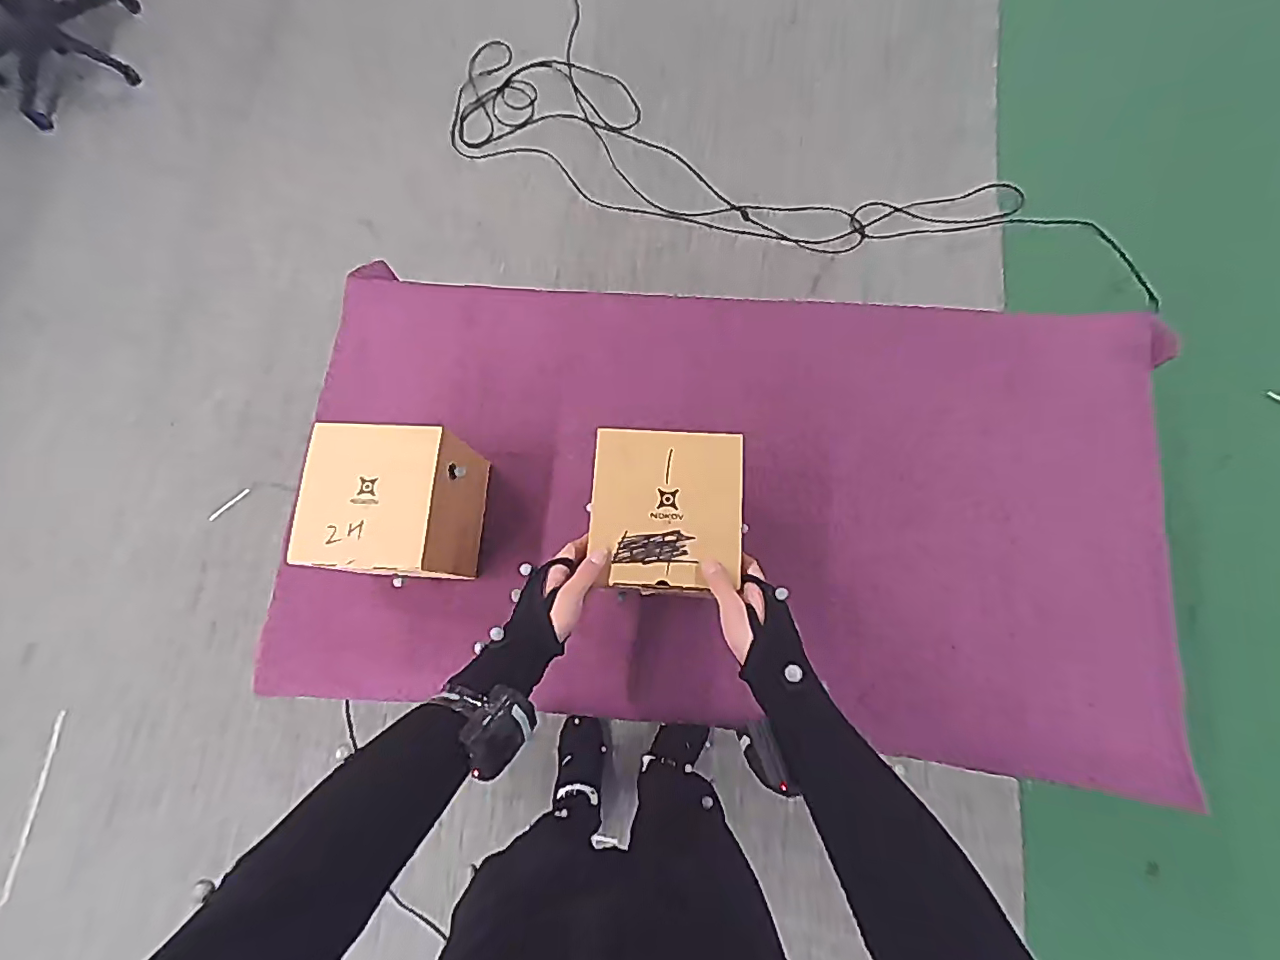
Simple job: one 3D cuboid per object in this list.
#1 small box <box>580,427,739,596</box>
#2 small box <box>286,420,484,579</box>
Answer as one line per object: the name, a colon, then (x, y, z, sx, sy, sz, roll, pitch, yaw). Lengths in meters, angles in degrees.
small box: (0.027, 0.047, 0.665, 0.168, 0.176, 0.179, 3, 75, 3)
small box: (-0.319, 0.033, 0.717, 0.168, 0.176, 0.179, 2, 77, 5)
